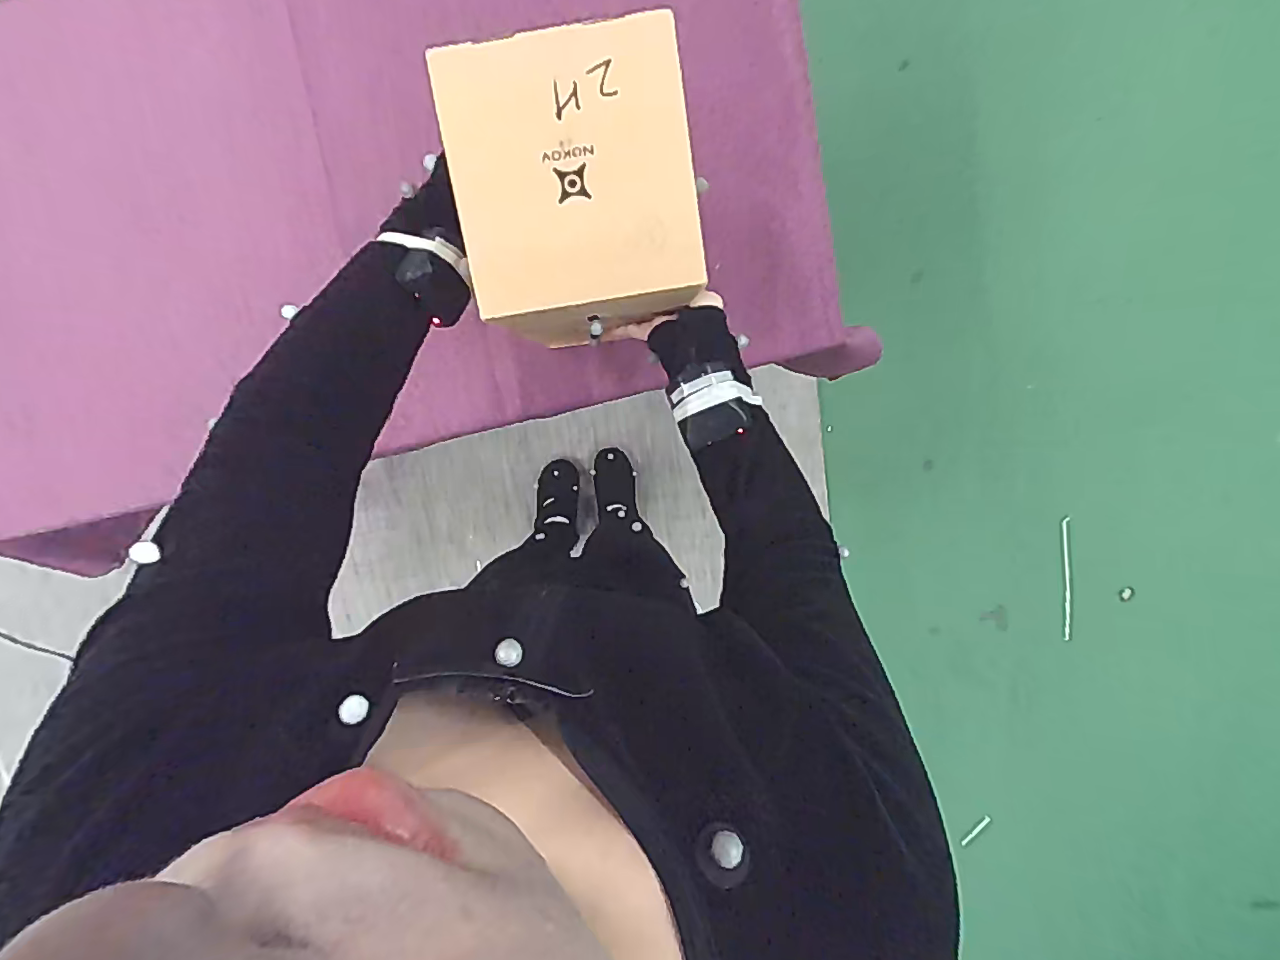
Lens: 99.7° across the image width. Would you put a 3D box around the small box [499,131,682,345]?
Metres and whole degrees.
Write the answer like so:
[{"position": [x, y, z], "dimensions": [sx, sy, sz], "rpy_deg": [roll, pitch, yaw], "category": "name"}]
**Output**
[{"position": [-0.049, -0.257, 0.615], "dimensions": [0.168, 0.176, 0.179], "rpy_deg": [-7, 100, 1], "category": "small box"}]
